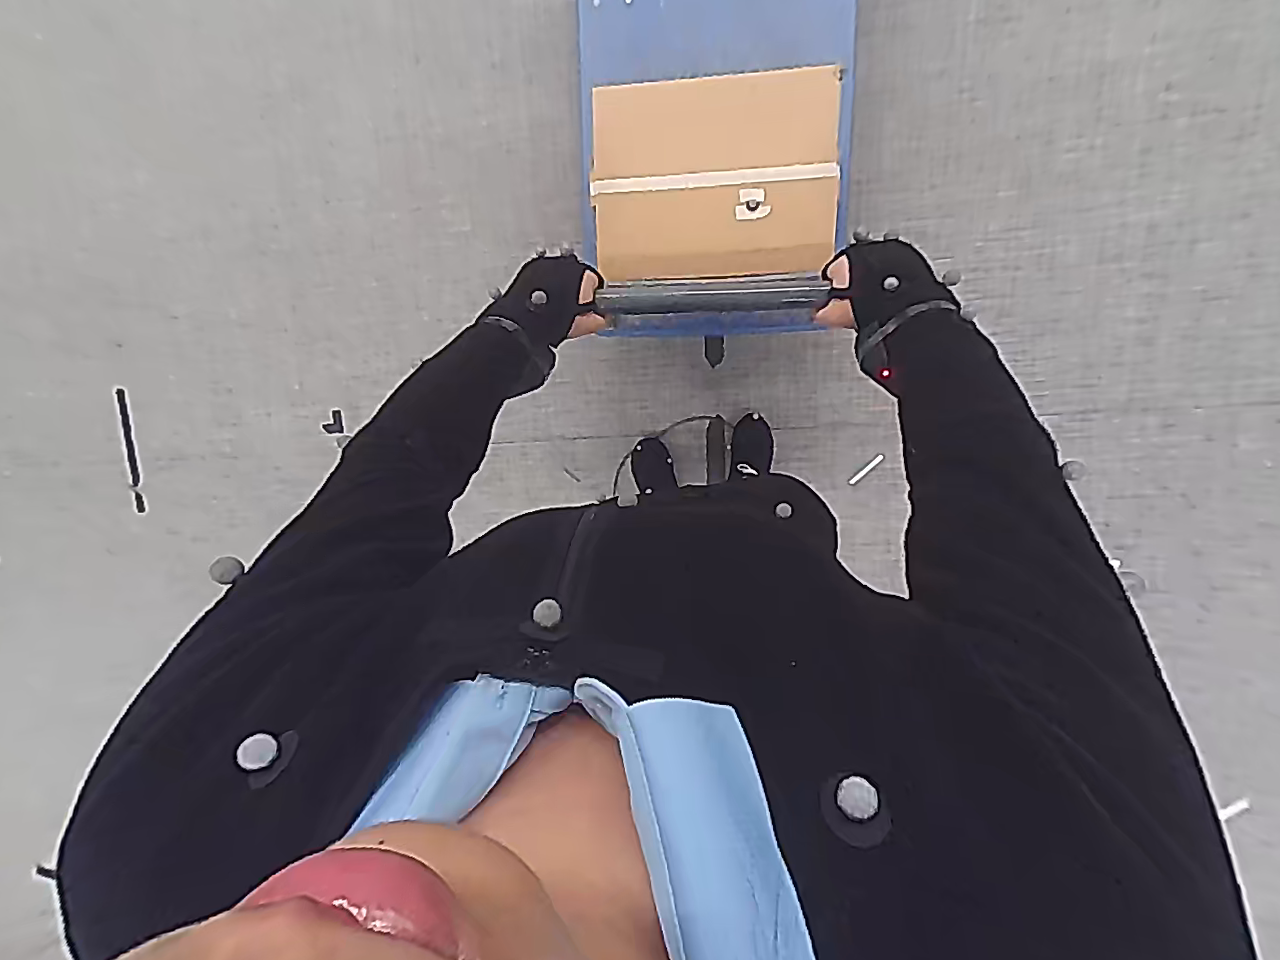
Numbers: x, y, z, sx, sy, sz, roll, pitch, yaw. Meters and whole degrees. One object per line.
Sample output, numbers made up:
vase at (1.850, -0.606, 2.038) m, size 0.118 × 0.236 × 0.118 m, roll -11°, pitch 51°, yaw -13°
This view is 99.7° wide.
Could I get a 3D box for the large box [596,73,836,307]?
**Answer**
large box at (0.142, -0.533, 1.071) m, size 0.408 × 0.320 × 0.320 m, roll 0°, pitch 101°, yaw 7°
